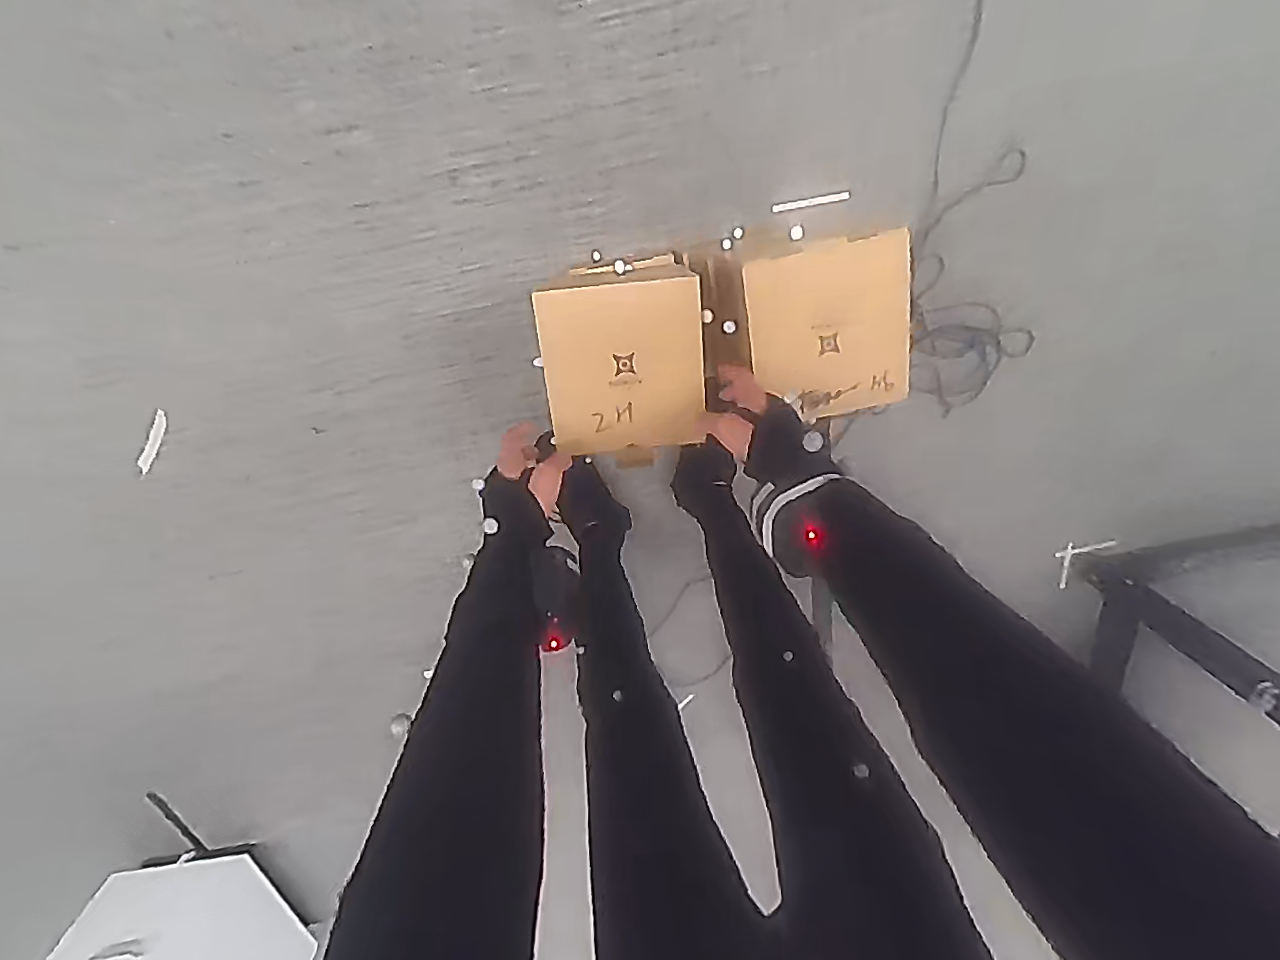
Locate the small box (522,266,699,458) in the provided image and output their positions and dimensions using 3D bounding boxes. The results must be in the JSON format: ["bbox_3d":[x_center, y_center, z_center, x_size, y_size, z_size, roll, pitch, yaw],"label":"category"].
[{"bbox_3d":[-0.028,-0.143,0.615,0.168,0.176,0.179,-6,116,1],"label":"small box"}]
